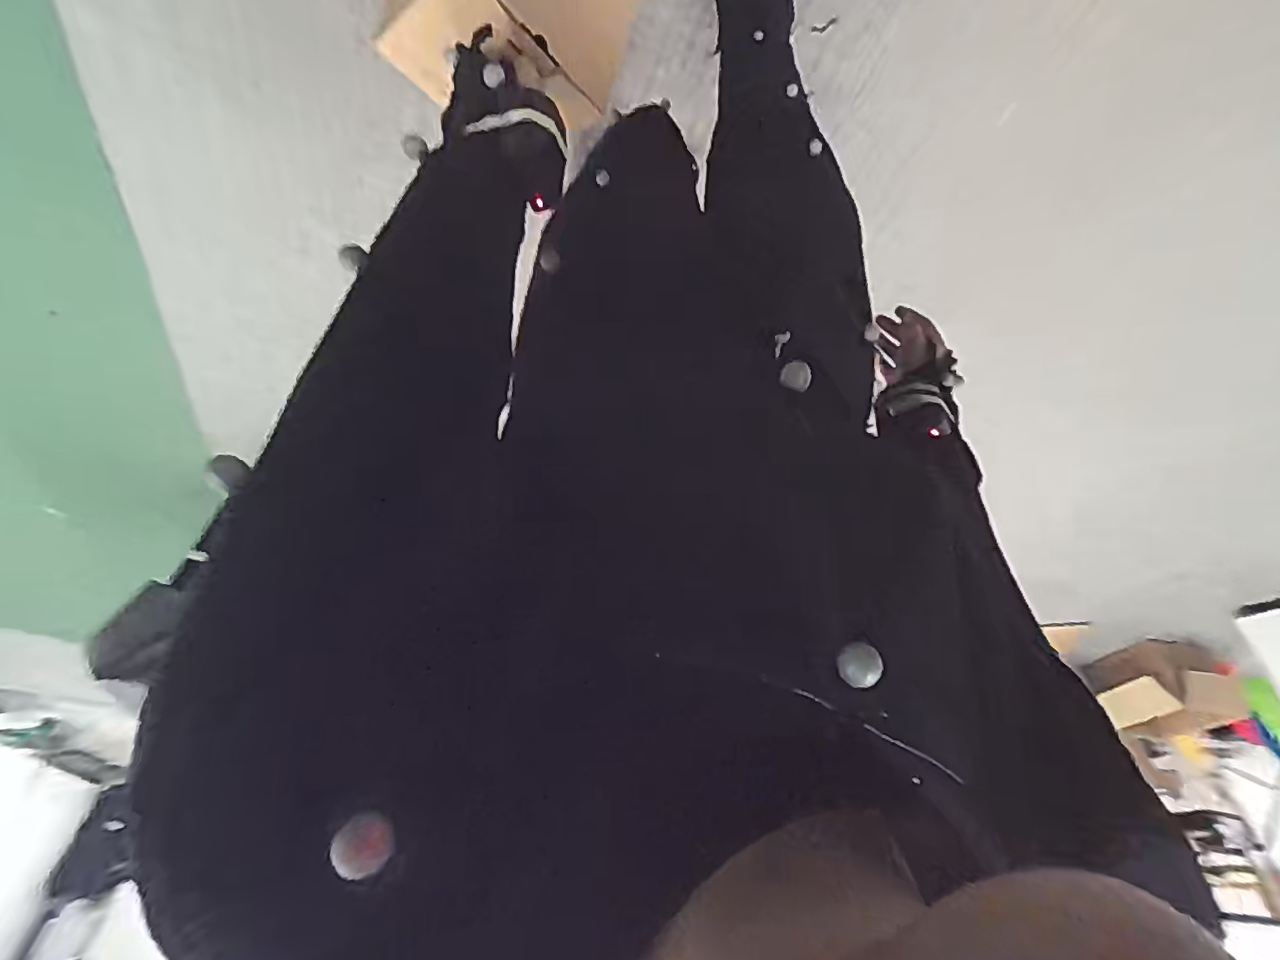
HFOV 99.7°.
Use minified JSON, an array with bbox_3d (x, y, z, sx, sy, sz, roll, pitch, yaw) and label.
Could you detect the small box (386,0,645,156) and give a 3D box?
[{"bbox_3d":[-0.120,-0.466,0.532,0.176,0.179,0.168,10,171,42],"label":"small box"}]
